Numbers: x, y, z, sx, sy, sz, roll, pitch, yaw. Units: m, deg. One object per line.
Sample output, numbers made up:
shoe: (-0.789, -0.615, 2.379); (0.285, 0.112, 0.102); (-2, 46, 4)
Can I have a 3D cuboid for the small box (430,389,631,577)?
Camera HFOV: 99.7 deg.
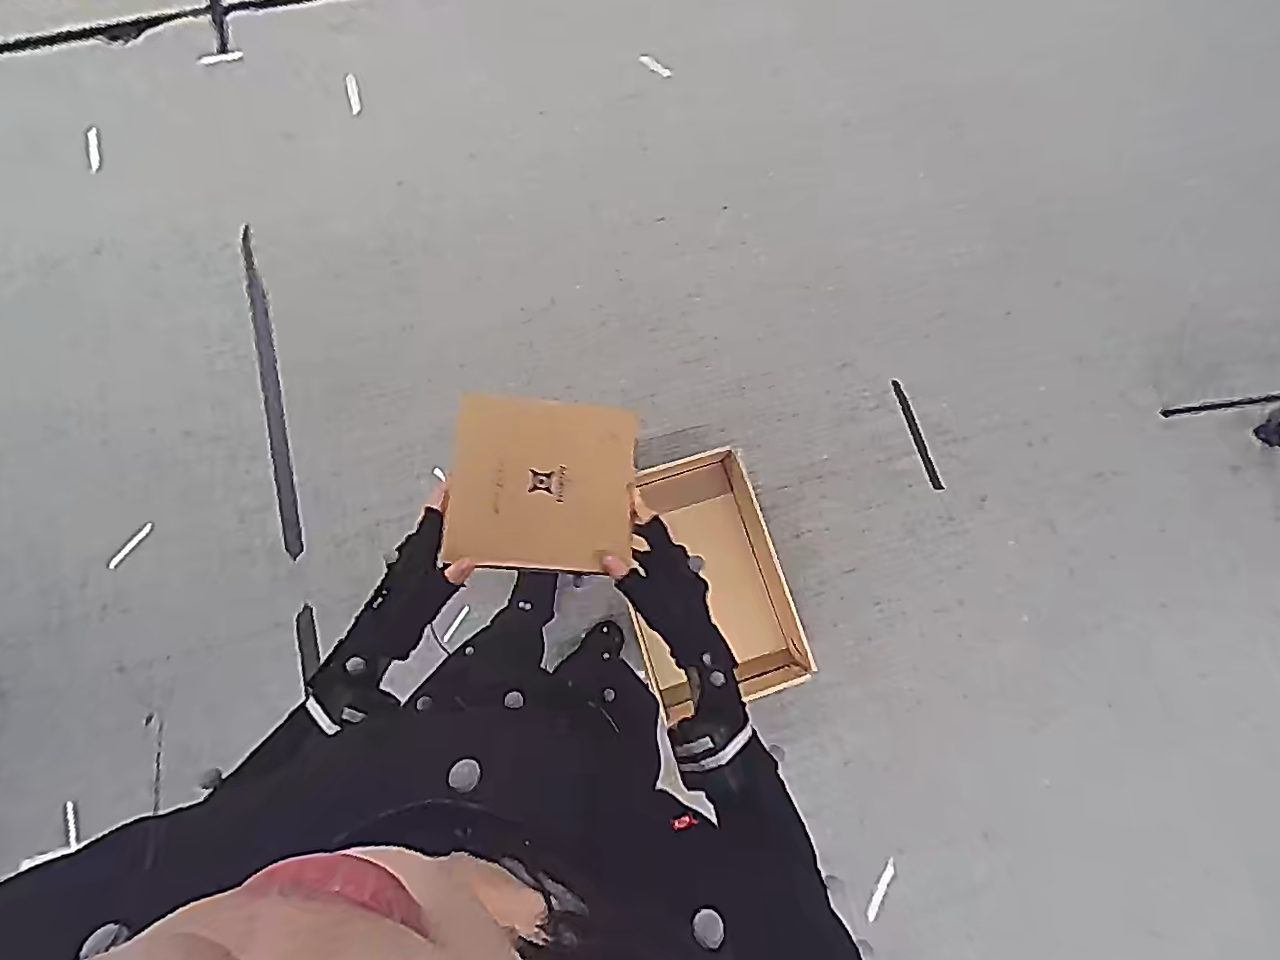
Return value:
small box: (-0.112, 0.016, 0.581); (0.179, 0.176, 0.168); (3, 77, -10)
